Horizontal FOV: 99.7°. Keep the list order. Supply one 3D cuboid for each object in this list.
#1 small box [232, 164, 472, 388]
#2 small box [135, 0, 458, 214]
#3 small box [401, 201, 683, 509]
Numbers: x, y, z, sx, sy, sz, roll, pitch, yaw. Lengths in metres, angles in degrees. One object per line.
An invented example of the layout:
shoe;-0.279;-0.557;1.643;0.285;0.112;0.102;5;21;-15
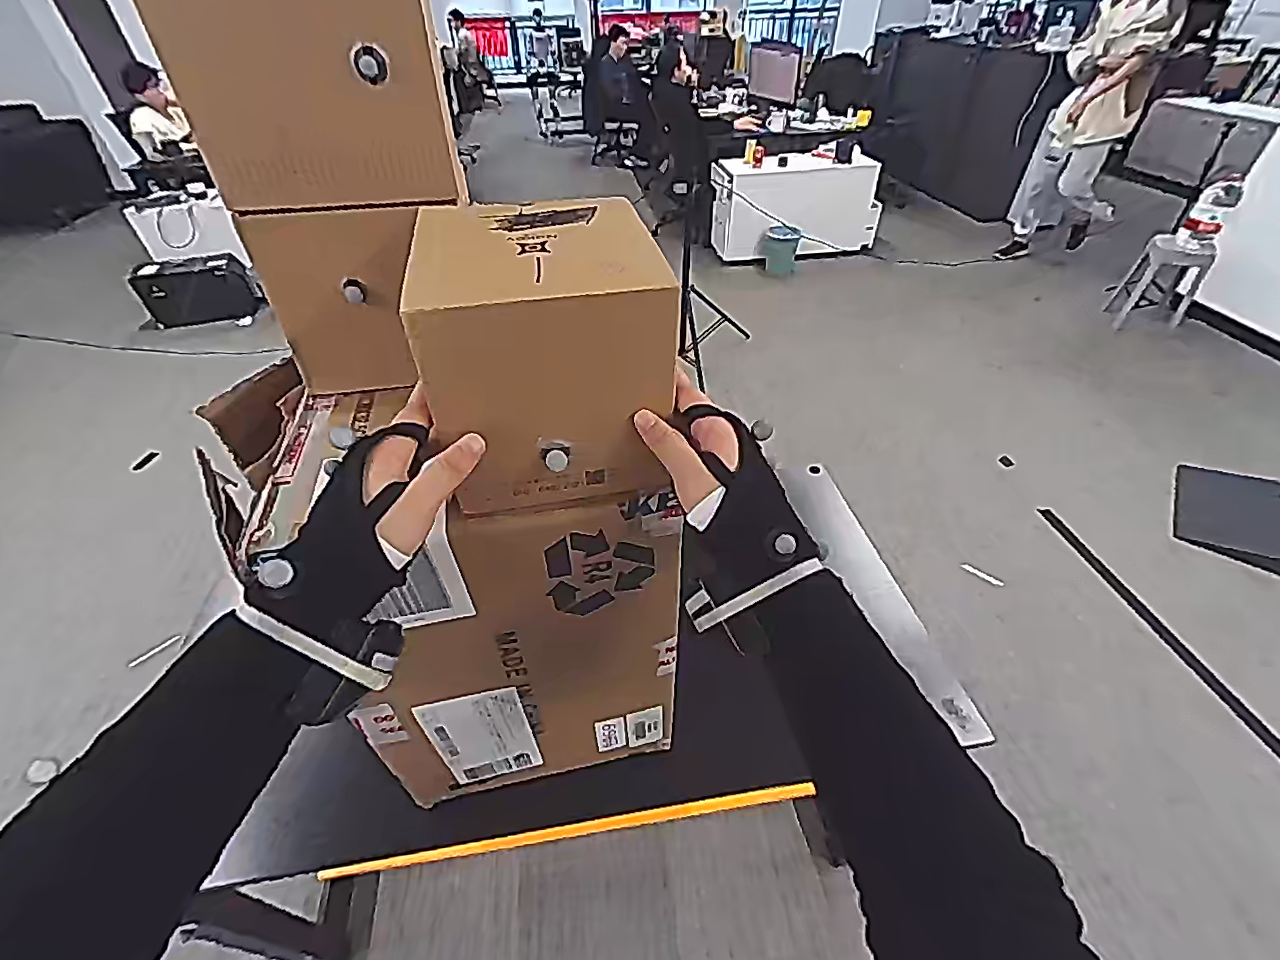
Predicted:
small box;-0.251;-0.206;0.546;0.179;0.176;0.168;-9;41;-9
small box;-0.250;-0.328;0.437;0.179;0.176;0.168;-10;40;-11
small box;-0.071;-0.102;0.426;0.168;0.176;0.179;-9;44;-9
